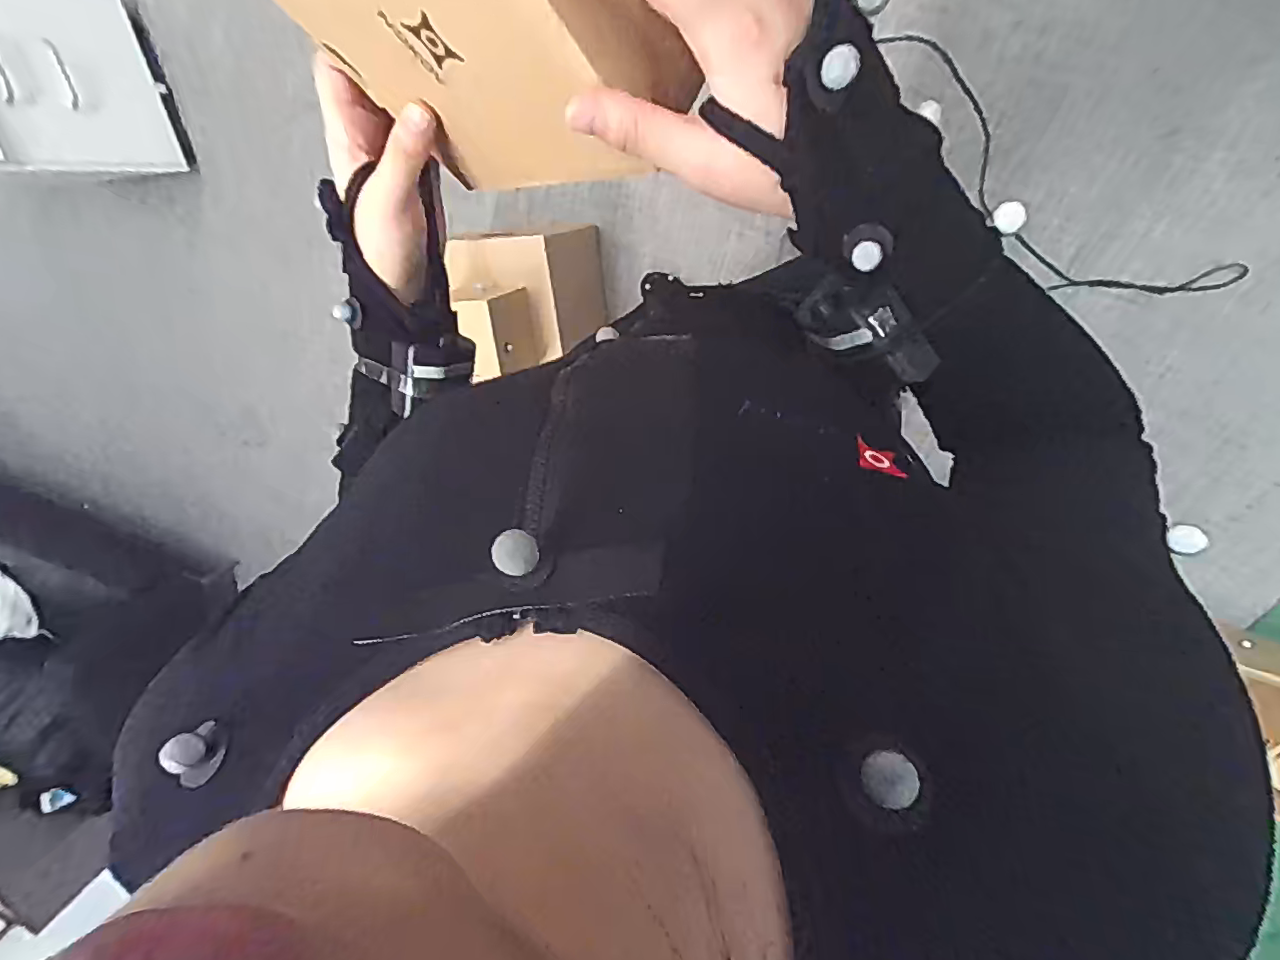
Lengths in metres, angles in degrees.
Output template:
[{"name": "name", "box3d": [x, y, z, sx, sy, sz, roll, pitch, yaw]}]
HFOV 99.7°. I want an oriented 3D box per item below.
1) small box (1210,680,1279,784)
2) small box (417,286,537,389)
[{"name": "small box", "box3d": [1.564, 0.616, 1.299, 0.179, 0.176, 0.168, 20, 124, 9]}, {"name": "small box", "box3d": [-0.333, -0.305, 1.146, 0.168, 0.176, 0.179, 4, 119, 15]}]
